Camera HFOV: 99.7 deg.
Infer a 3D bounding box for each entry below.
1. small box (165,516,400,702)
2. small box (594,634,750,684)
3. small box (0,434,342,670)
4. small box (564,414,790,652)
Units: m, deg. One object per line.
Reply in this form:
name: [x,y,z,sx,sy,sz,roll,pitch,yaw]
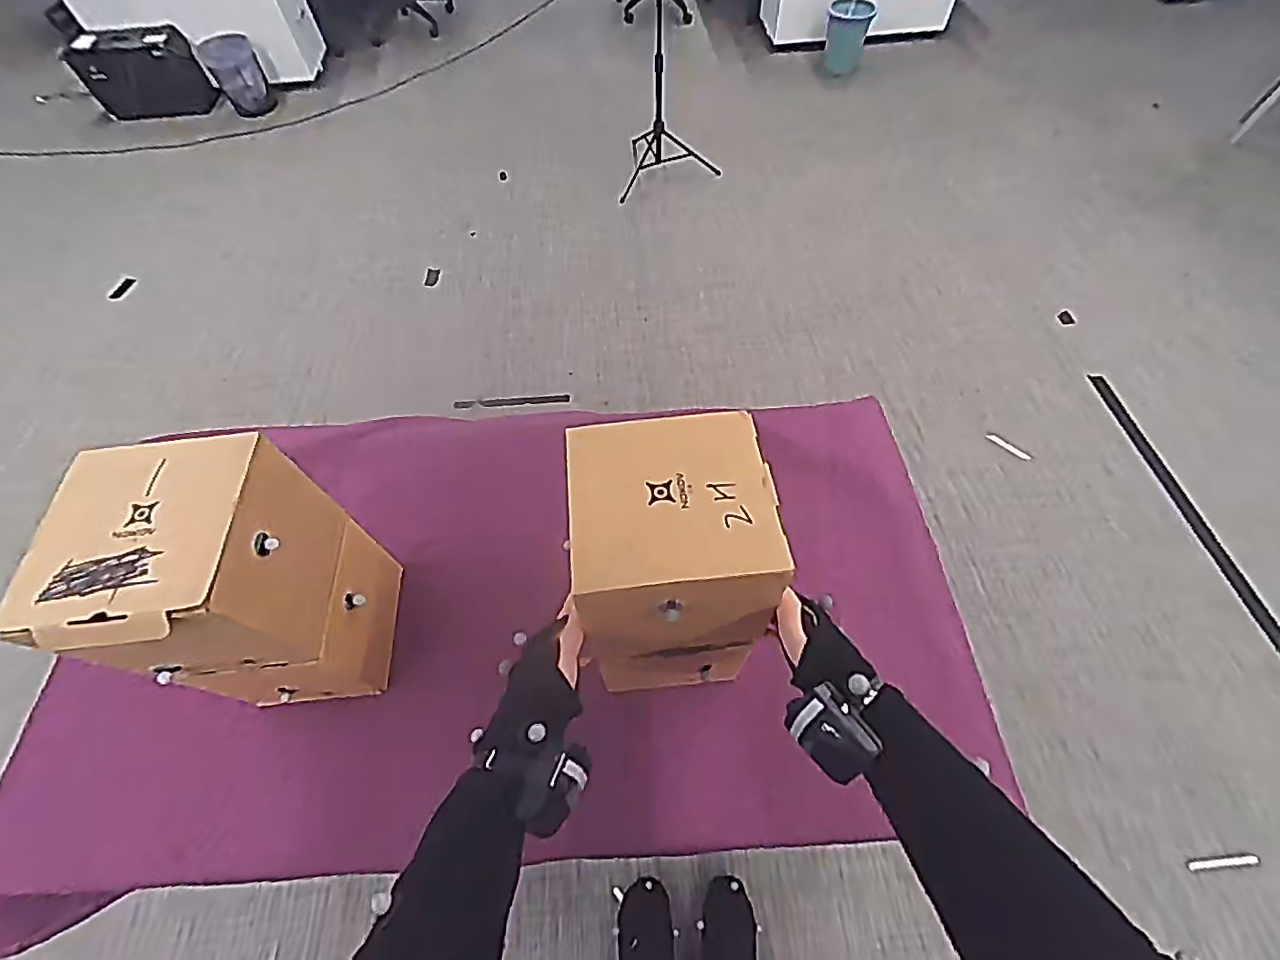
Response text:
small box: [-0.418,0.164,0.673,0.168,0.176,0.179,-5,60,-2]
small box: [0.031,0.147,0.666,0.168,0.176,0.179,-5,59,-1]
small box: [-0.423,0.080,0.532,0.168,0.176,0.179,-6,59,-3]
small box: [0.026,0.058,0.524,0.179,0.176,0.168,-5,57,-2]
